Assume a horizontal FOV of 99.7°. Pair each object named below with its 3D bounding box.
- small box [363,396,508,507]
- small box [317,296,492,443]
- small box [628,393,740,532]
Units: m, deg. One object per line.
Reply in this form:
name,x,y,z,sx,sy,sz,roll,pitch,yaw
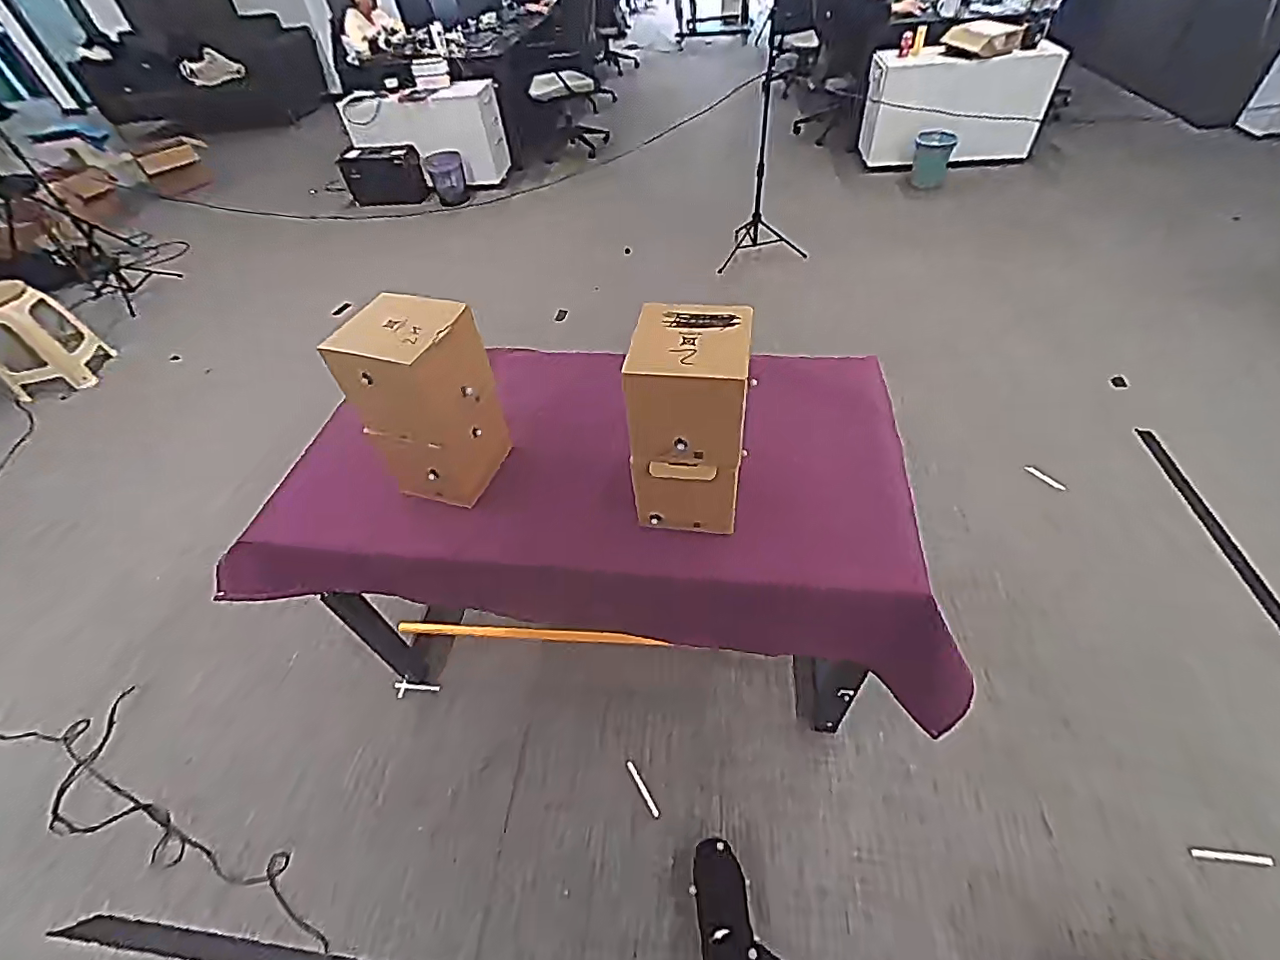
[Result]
small box,-0.371,-0.072,1.024,0.168,0.176,0.179,11,50,15
small box,-0.378,-0.182,0.902,0.179,0.176,0.168,12,52,15
small box,0.083,-0.029,0.933,0.168,0.176,0.179,4,48,10
